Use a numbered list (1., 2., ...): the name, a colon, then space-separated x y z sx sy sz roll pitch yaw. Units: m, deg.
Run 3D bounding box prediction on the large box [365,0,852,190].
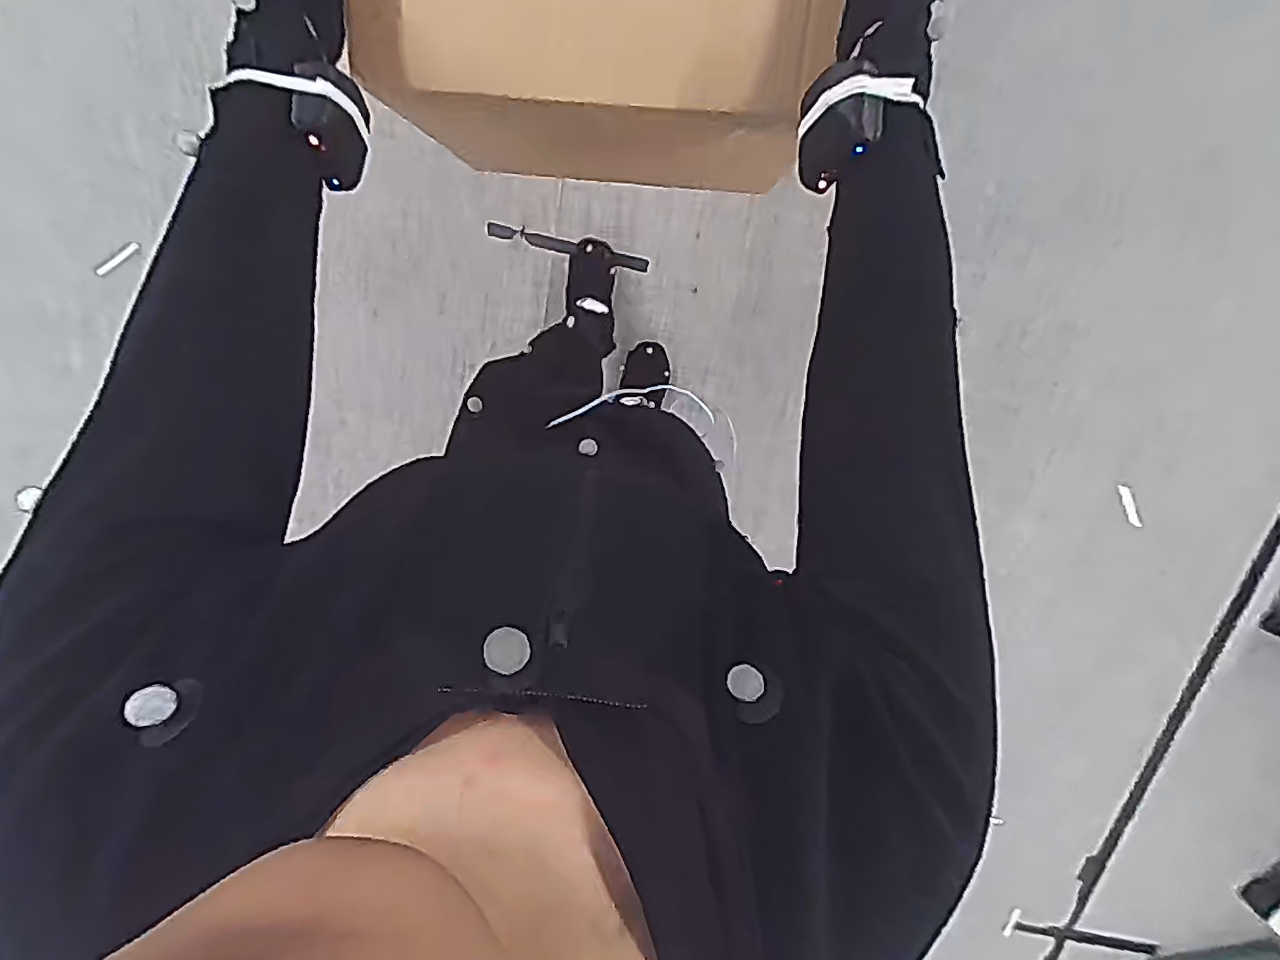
1. large box: -0.019 -0.512 0.557 0.408 0.320 0.320 5 108 0
